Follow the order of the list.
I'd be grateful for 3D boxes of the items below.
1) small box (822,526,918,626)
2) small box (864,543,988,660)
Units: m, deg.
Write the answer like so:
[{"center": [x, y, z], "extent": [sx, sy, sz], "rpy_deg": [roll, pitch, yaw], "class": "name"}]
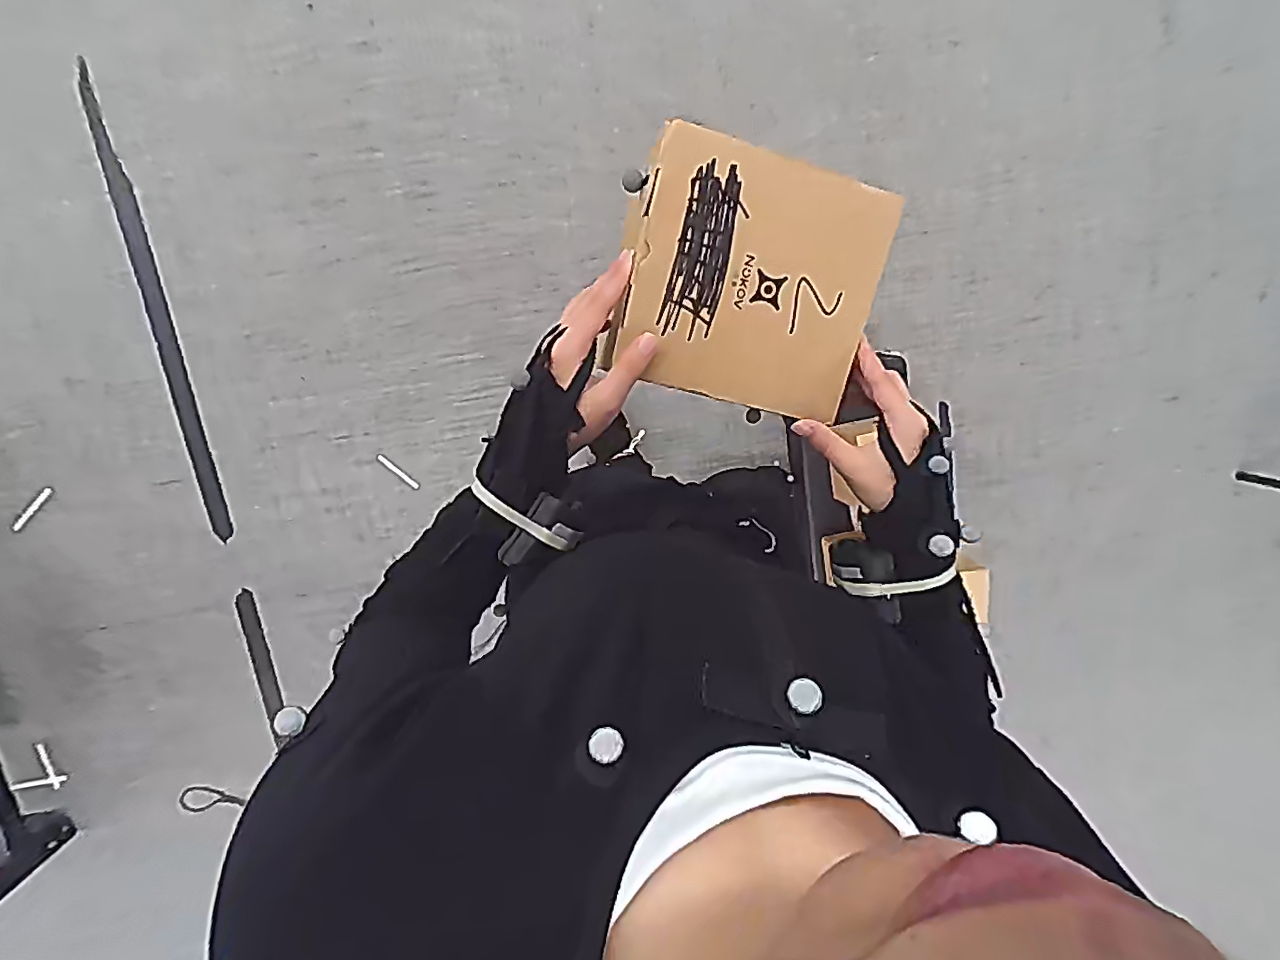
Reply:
[{"center": [0.552, 0.217, 1.271], "extent": [0.179, 0.176, 0.168], "rpy_deg": [-11, 102, -1], "class": "small box"}, {"center": [0.576, 0.243, 1.109], "extent": [0.168, 0.176, 0.179], "rpy_deg": [-5, 101, -3], "class": "small box"}]
